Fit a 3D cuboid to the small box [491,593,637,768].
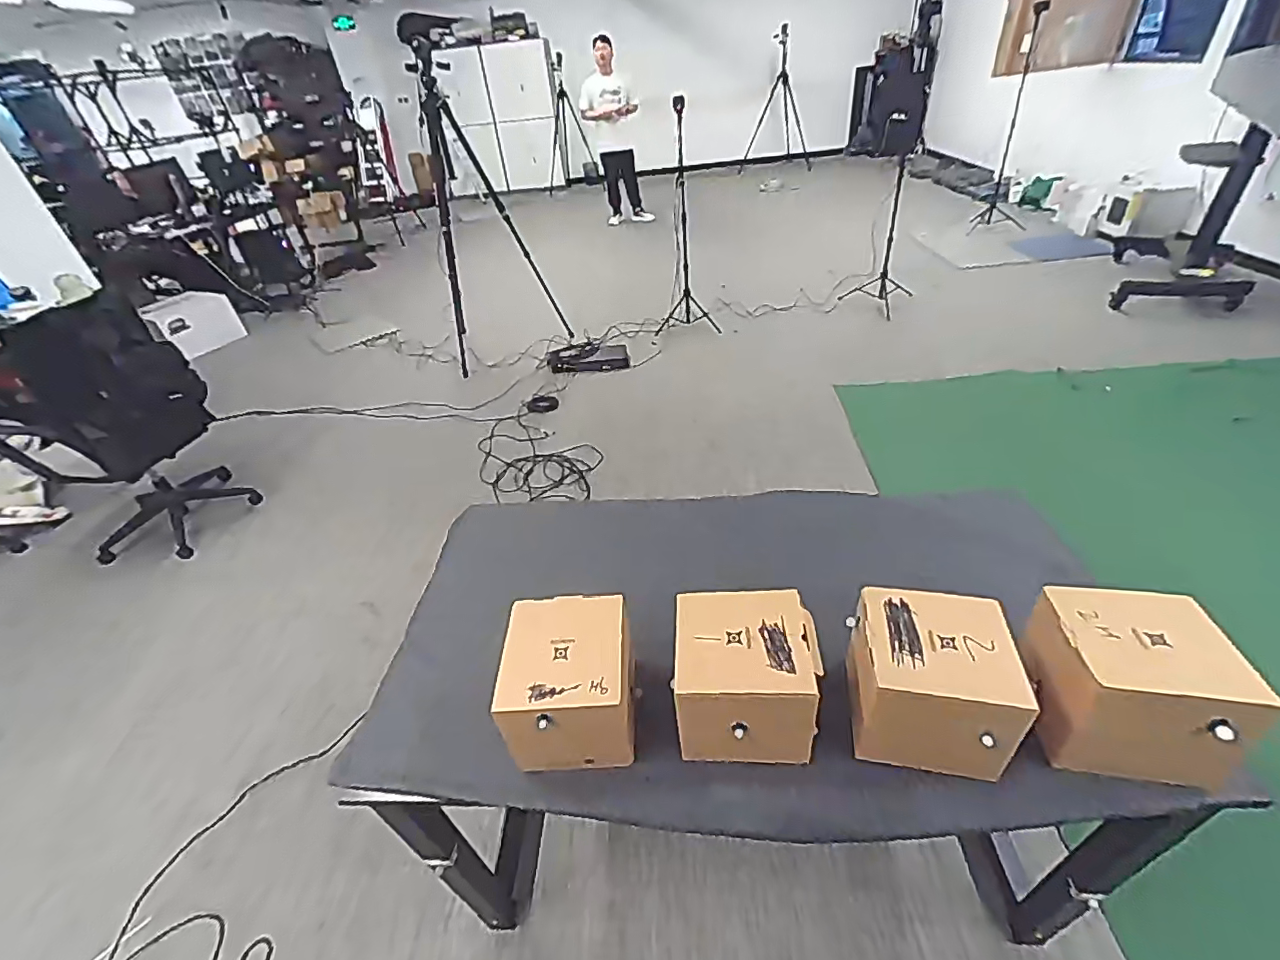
[{"bbox_3d":[-0.097,0.288,0.784,0.168,0.176,0.179,-5,38,5],"label":"small box"}]
